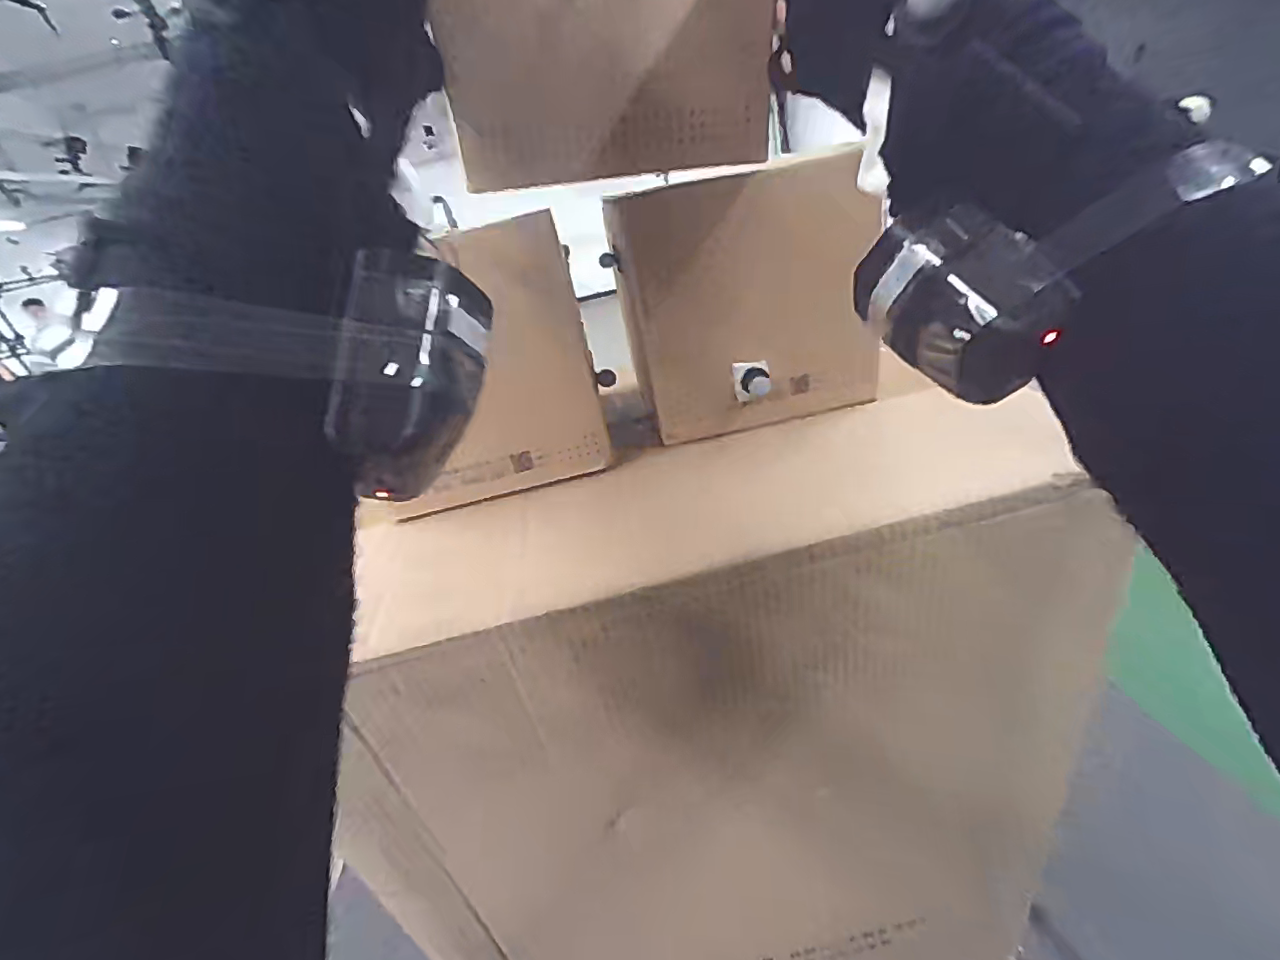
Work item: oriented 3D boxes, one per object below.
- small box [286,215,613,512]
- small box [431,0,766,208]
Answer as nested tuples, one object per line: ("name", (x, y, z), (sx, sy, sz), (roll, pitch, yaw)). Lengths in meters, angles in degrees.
("small box", (-0.123, -0.097, 0.426), (0.168, 0.176, 0.179), (-15, 26, -1))
("small box", (-0.030, -0.278, 0.338), (0.179, 0.176, 0.168), (-11, 31, -8))
